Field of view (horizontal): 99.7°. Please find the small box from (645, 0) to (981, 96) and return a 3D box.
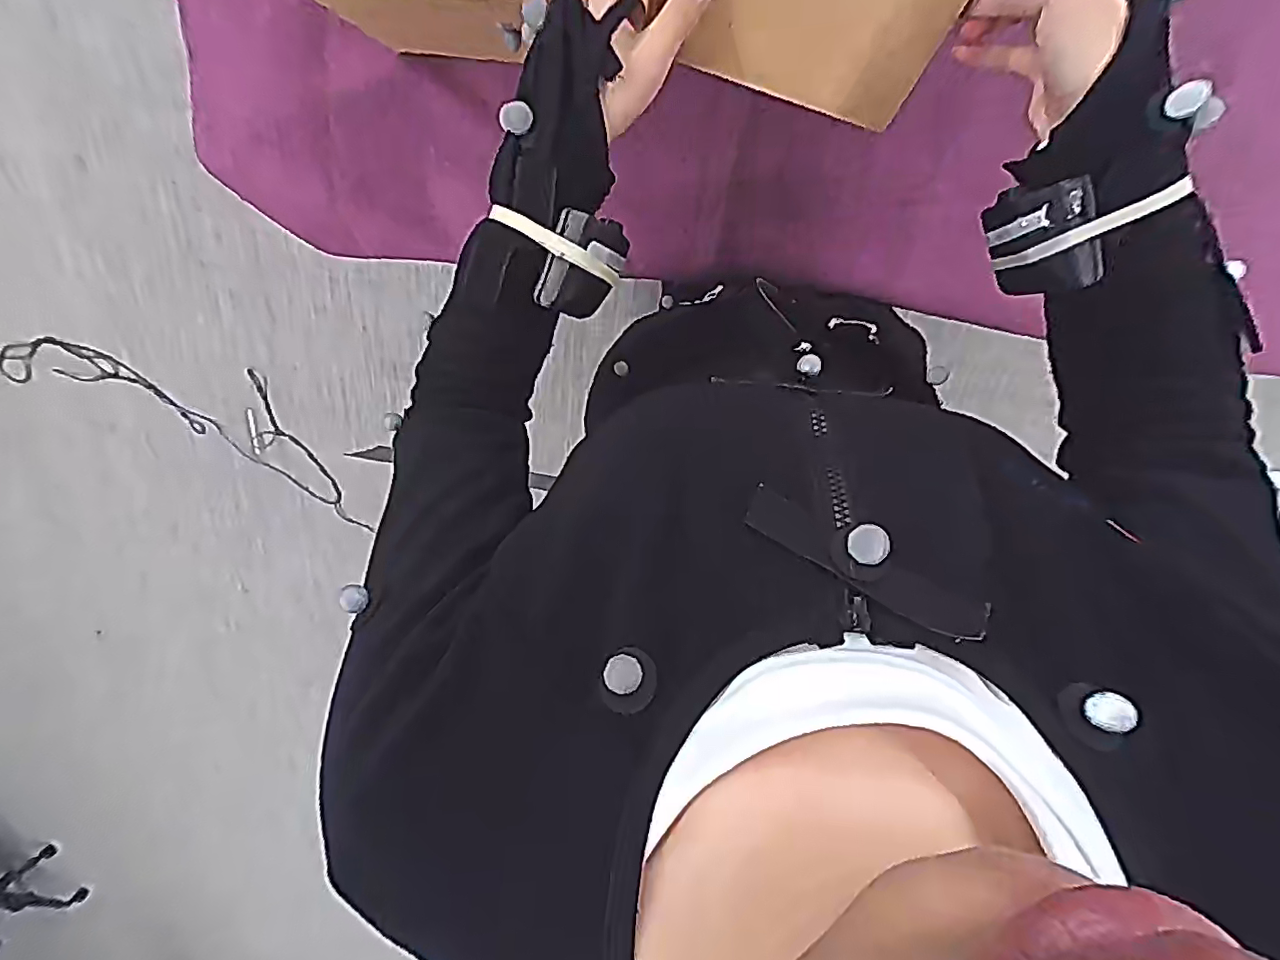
[{"bbox_3d":[0.114,-0.355,0.283,0.179,0.168,0.176,5,93,-16],"label":"small box"}]
